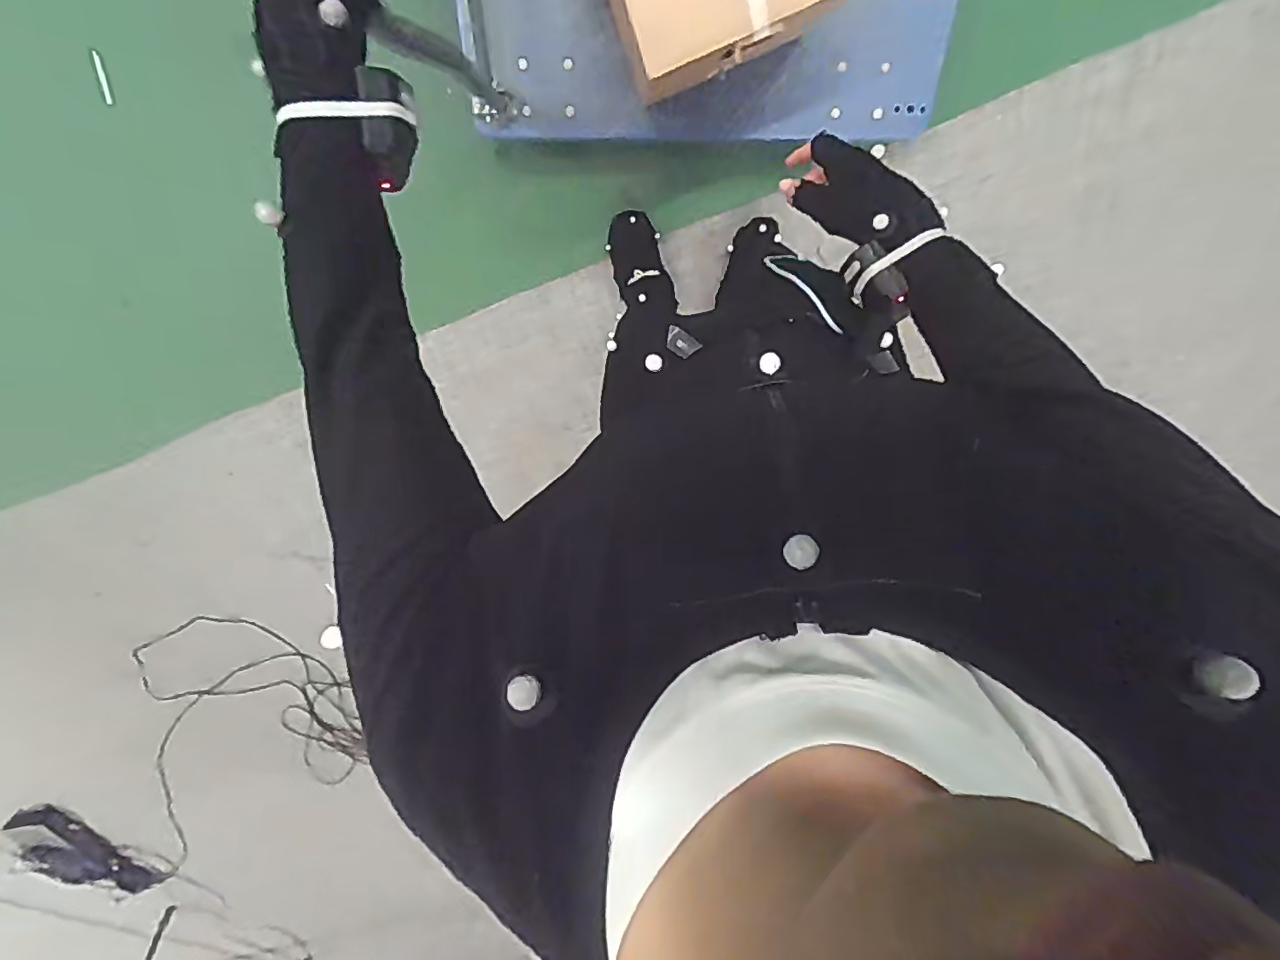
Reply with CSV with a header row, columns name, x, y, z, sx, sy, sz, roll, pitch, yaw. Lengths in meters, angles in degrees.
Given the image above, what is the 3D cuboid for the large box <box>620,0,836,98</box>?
name,x,y,z,sx,sy,sz,roll,pitch,yaw
large box,0.090,-0.838,0.752,0.320,0.320,0.408,-18,117,8
